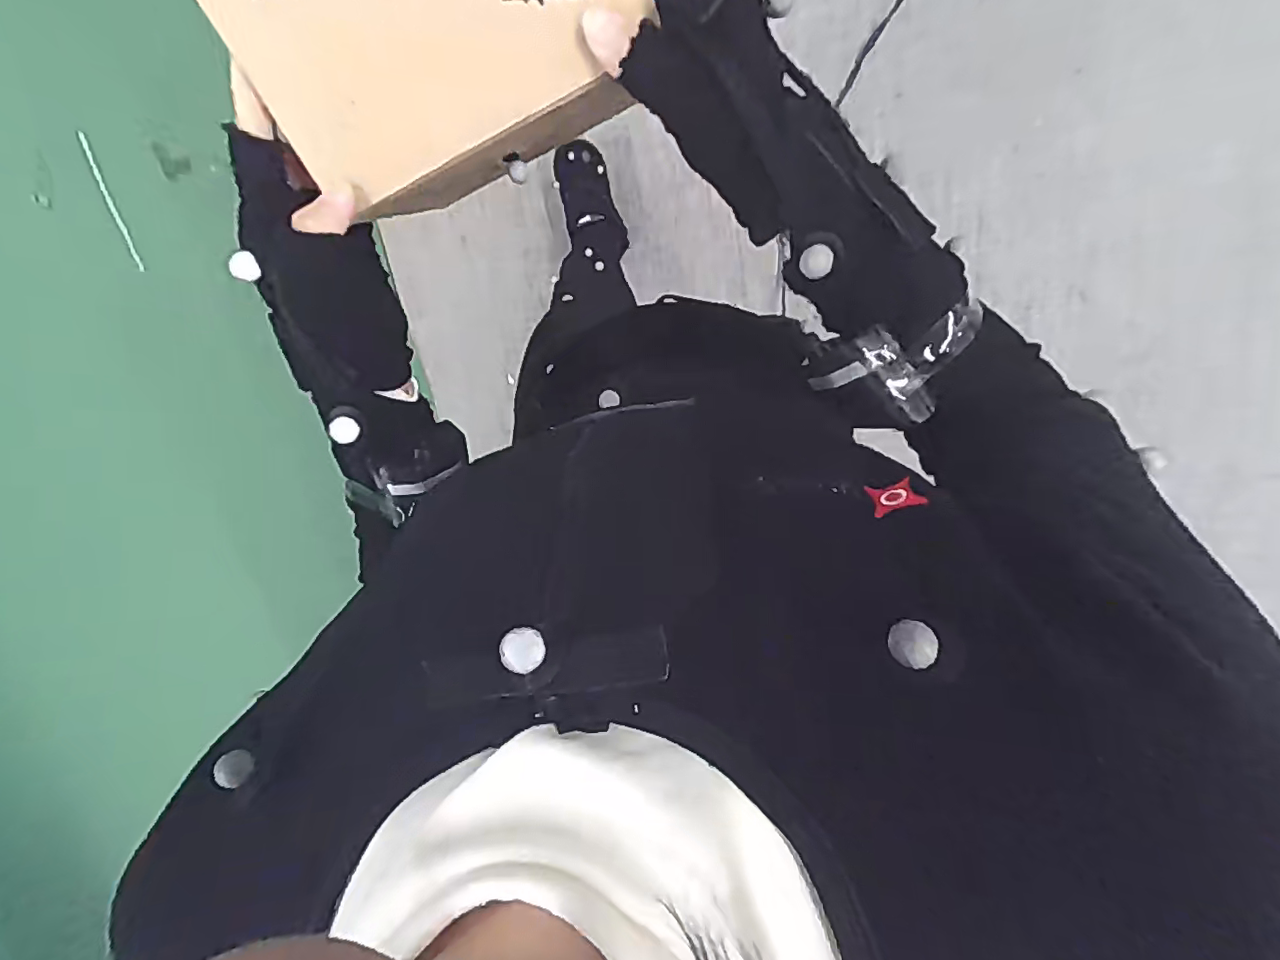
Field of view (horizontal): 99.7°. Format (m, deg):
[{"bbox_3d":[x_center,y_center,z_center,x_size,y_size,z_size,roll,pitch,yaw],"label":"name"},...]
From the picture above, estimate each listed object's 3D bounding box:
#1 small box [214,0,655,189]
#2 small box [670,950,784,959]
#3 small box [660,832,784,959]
[{"bbox_3d":[-0.102,-0.272,0.282,0.179,0.176,0.168,-18,116,9],"label":"small box"},{"bbox_3d":[0.121,0.781,0.736,0.179,0.176,0.168,-7,113,10],"label":"small box"},{"bbox_3d":[0.136,0.708,0.881,0.179,0.176,0.168,-8,113,9],"label":"small box"}]
